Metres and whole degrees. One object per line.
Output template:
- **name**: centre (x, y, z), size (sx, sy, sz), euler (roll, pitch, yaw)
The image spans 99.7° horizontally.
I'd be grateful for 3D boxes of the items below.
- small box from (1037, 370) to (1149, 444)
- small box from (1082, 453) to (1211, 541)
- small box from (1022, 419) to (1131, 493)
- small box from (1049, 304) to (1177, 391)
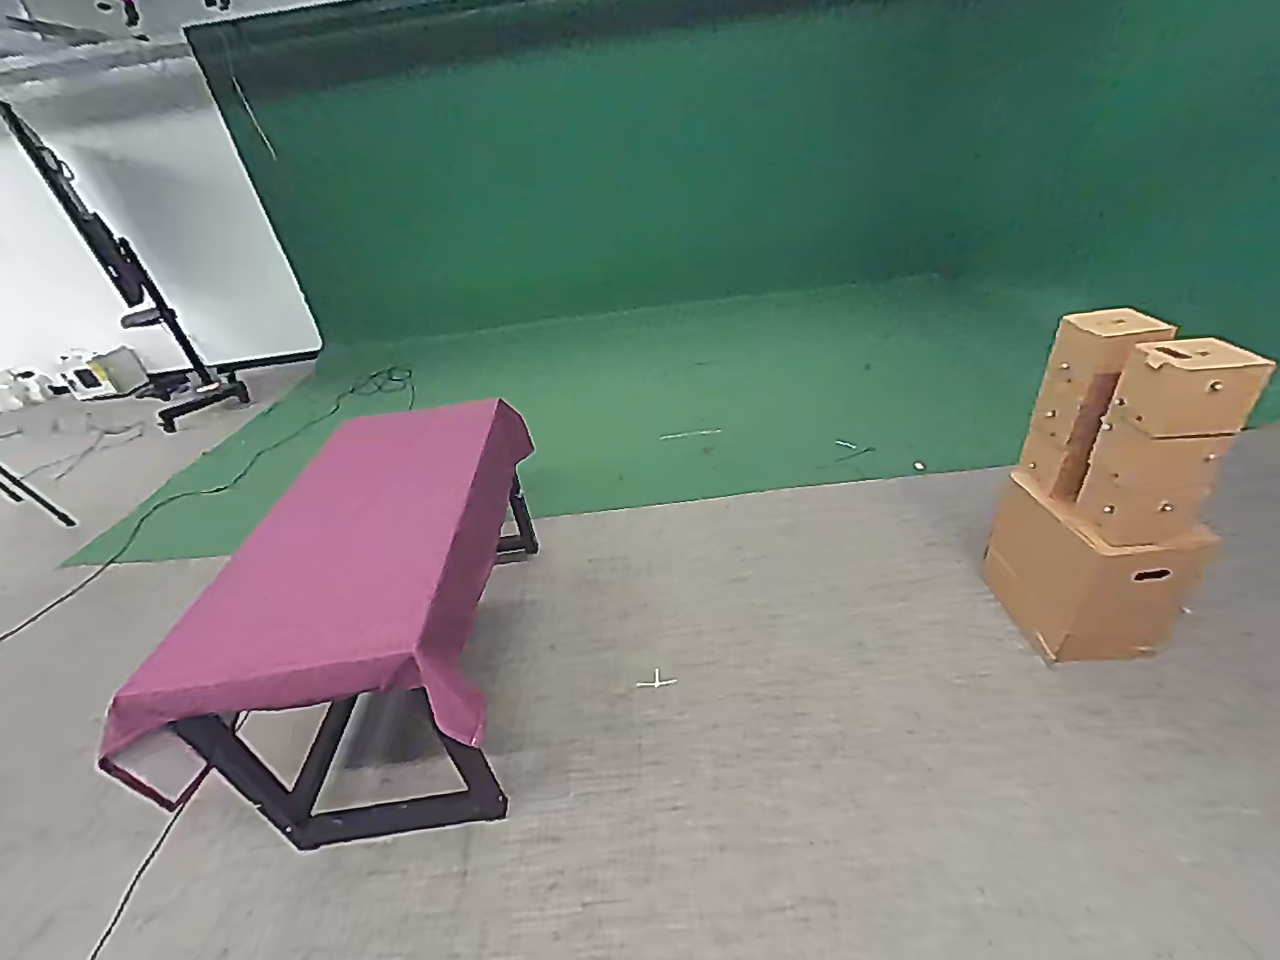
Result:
- **small box**: centre (1.268, -0.215, 1.534), size (0.179, 0.176, 0.168), euler (-8, 34, 5)
- **small box**: centre (1.314, 0.047, 1.425), size (0.179, 0.176, 0.168), euler (-5, 33, 6)
- **small box**: centre (1.297, -0.081, 1.624), size (0.179, 0.176, 0.168), euler (-8, 35, 4)
- **small box**: centre (1.247, -0.353, 1.444), size (0.179, 0.176, 0.168), euler (-7, 34, 5)
